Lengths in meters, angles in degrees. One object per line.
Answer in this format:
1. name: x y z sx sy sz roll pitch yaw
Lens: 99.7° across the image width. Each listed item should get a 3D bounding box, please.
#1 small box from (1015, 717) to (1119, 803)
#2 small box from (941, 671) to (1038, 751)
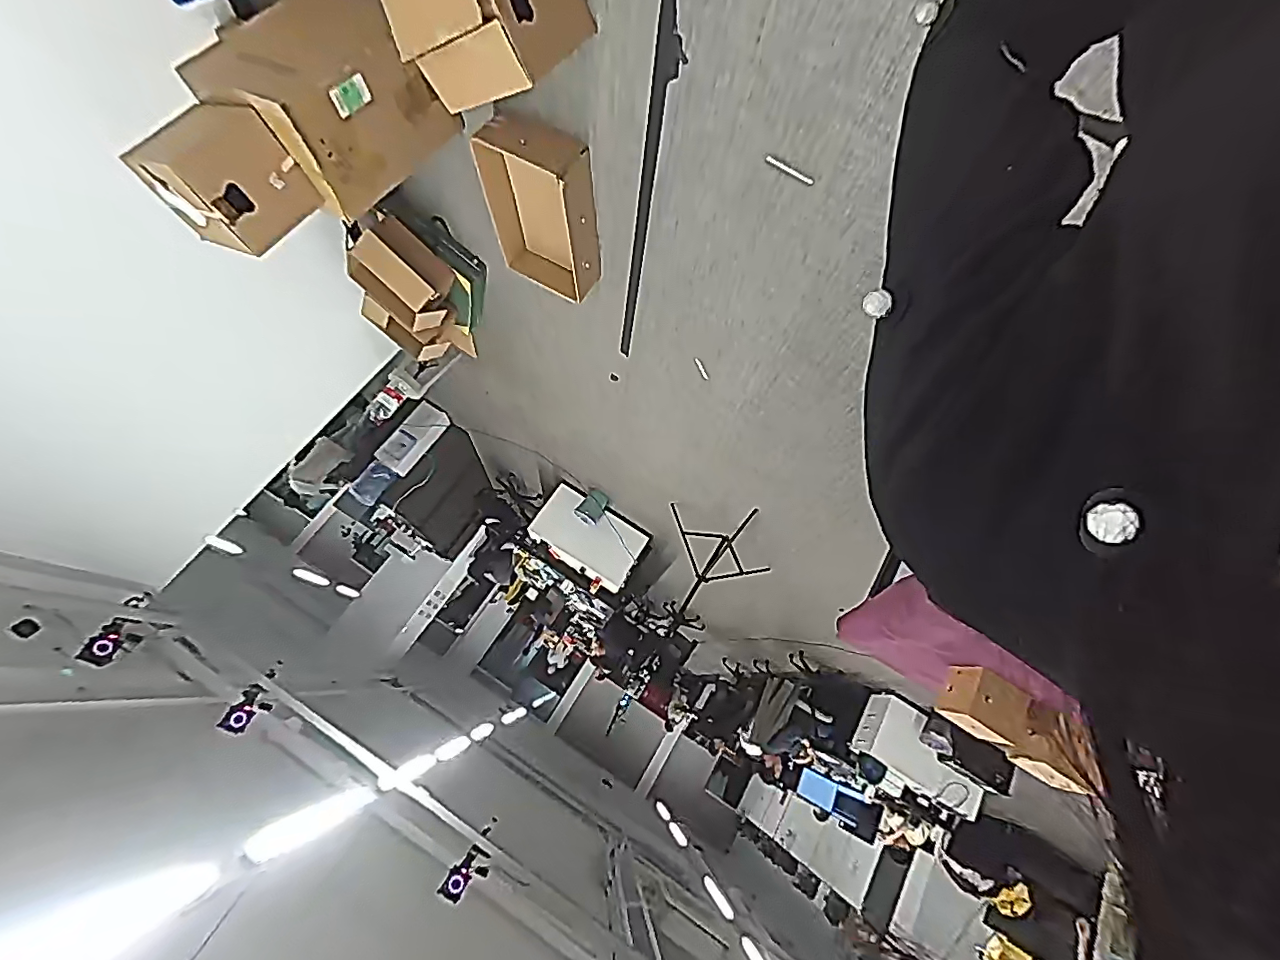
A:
1. small box: 1.342 0.870 1.701 0.179 0.176 0.168 33 160 7
2. small box: 1.118 0.729 1.731 0.179 0.176 0.168 31 162 3
